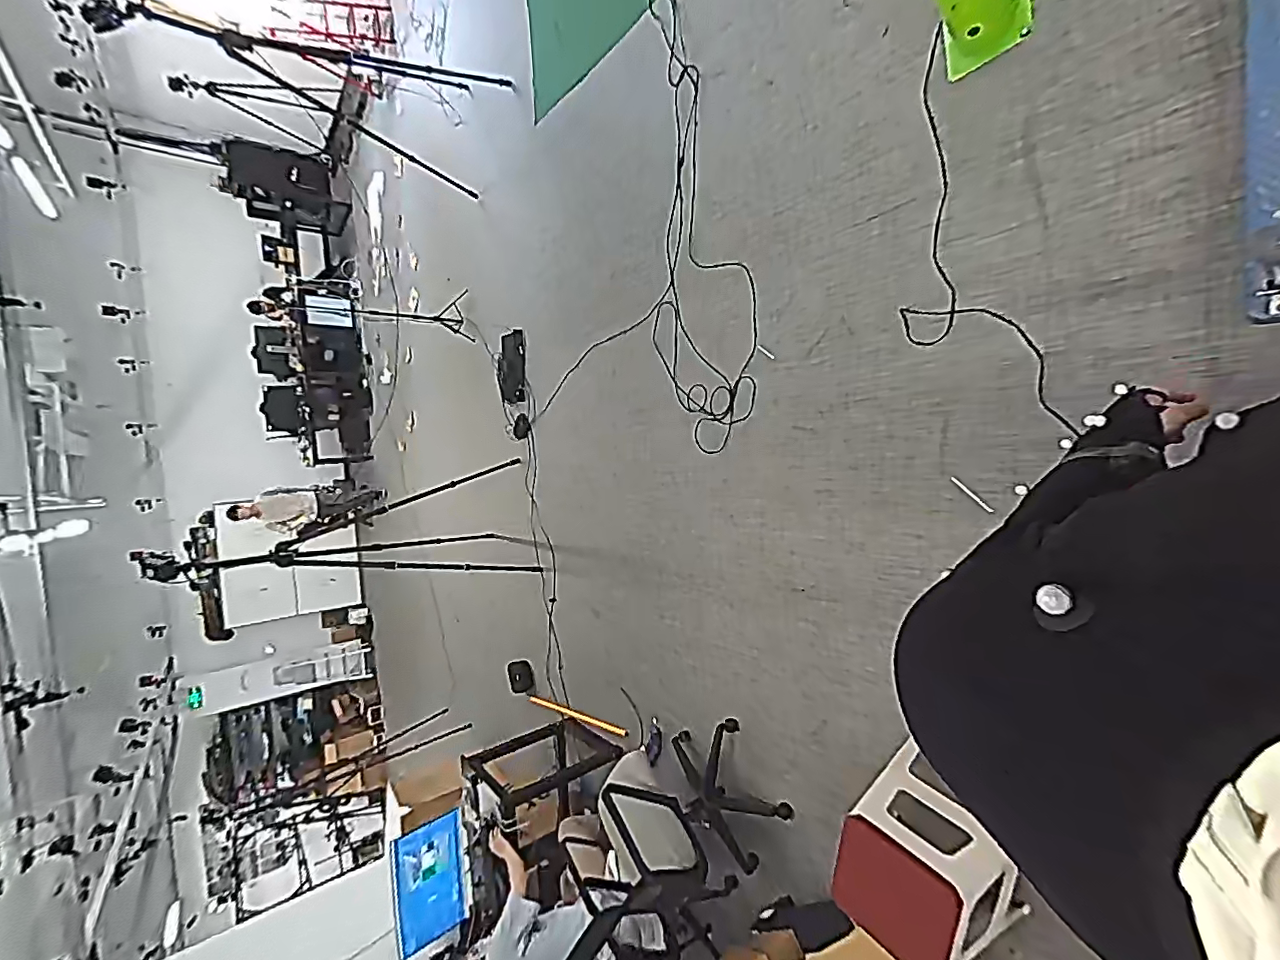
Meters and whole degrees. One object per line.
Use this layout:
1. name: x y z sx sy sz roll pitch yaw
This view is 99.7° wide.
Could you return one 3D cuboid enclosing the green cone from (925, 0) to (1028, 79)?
1. green cone: 0.762 -1.196 1.323 0.202 0.368 0.200 -7 89 54
